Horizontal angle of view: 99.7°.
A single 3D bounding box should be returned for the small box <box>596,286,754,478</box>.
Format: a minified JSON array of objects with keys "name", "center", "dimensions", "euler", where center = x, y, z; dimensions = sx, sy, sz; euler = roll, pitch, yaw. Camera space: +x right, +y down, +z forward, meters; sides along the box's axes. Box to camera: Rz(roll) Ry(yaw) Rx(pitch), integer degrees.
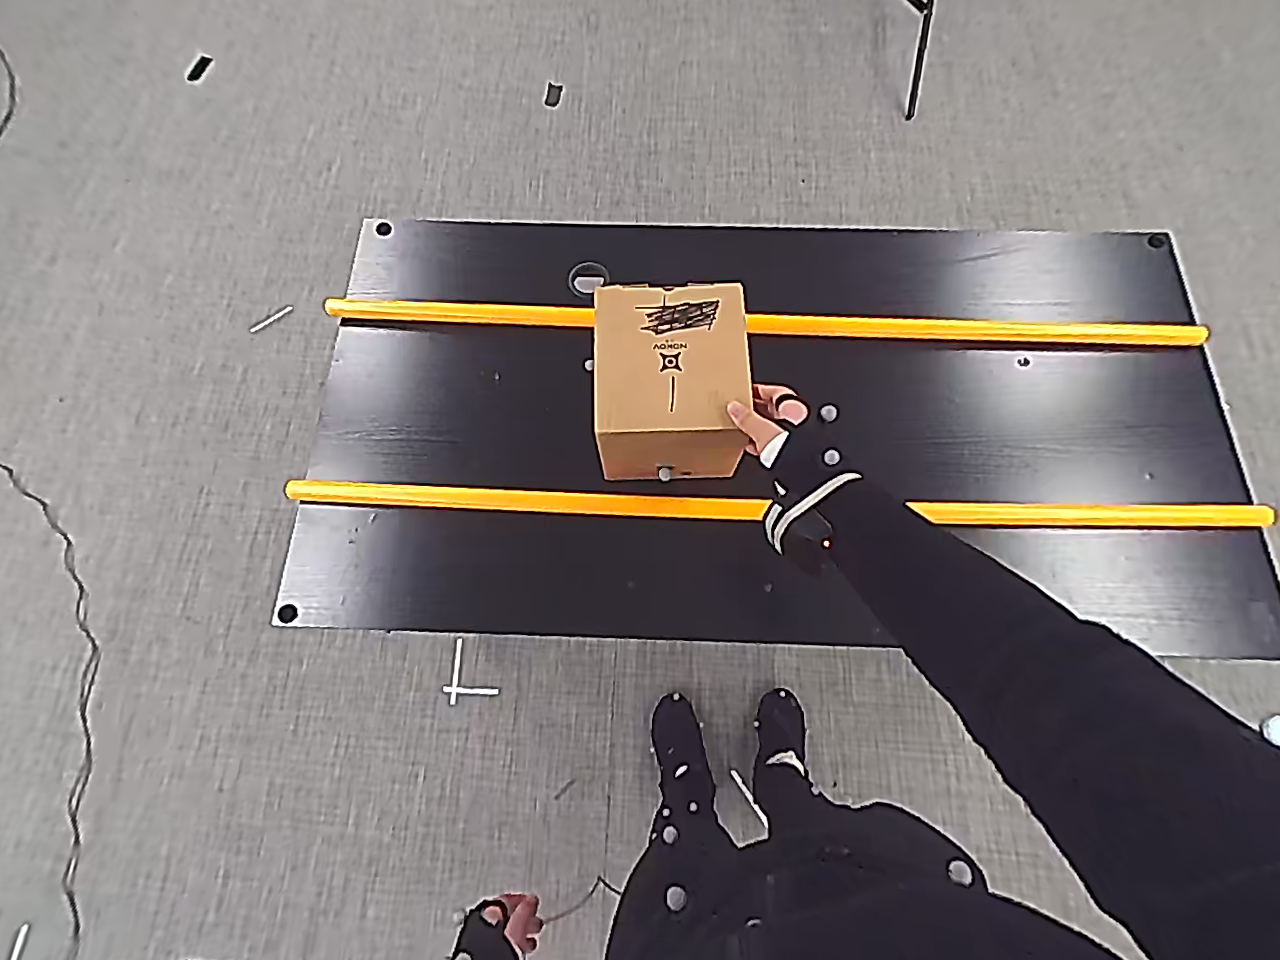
[{"name":"small box","center":[0.036,-0.110,0.656],"dimensions":[0.168,0.176,0.179],"euler":[-1,74,1]}]
